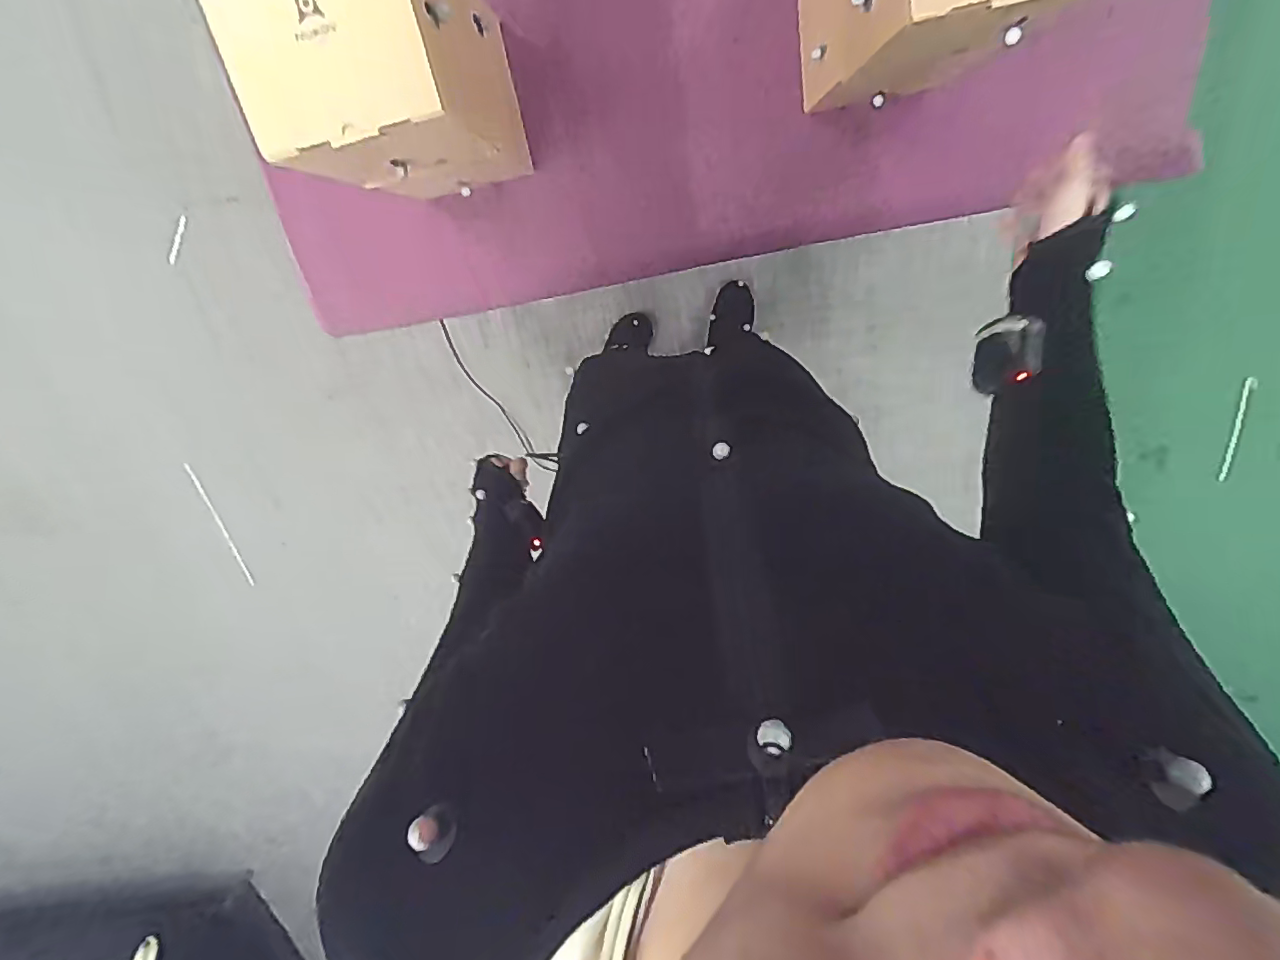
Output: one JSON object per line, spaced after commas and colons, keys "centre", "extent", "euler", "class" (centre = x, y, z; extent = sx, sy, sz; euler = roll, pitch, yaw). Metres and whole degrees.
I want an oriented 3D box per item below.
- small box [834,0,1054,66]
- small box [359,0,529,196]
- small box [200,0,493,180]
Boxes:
{"centre": [0.260, -0.467, 0.435], "extent": [0.168, 0.176, 0.179], "euler": [-9, 112, 7], "class": "small box"}
{"centre": [-0.248, -0.459, 0.647], "extent": [0.168, 0.176, 0.179], "euler": [-9, 112, 7], "class": "small box"}
{"centre": [-0.256, -0.399, 0.496], "extent": [0.168, 0.176, 0.179], "euler": [-11, 112, 7], "class": "small box"}
